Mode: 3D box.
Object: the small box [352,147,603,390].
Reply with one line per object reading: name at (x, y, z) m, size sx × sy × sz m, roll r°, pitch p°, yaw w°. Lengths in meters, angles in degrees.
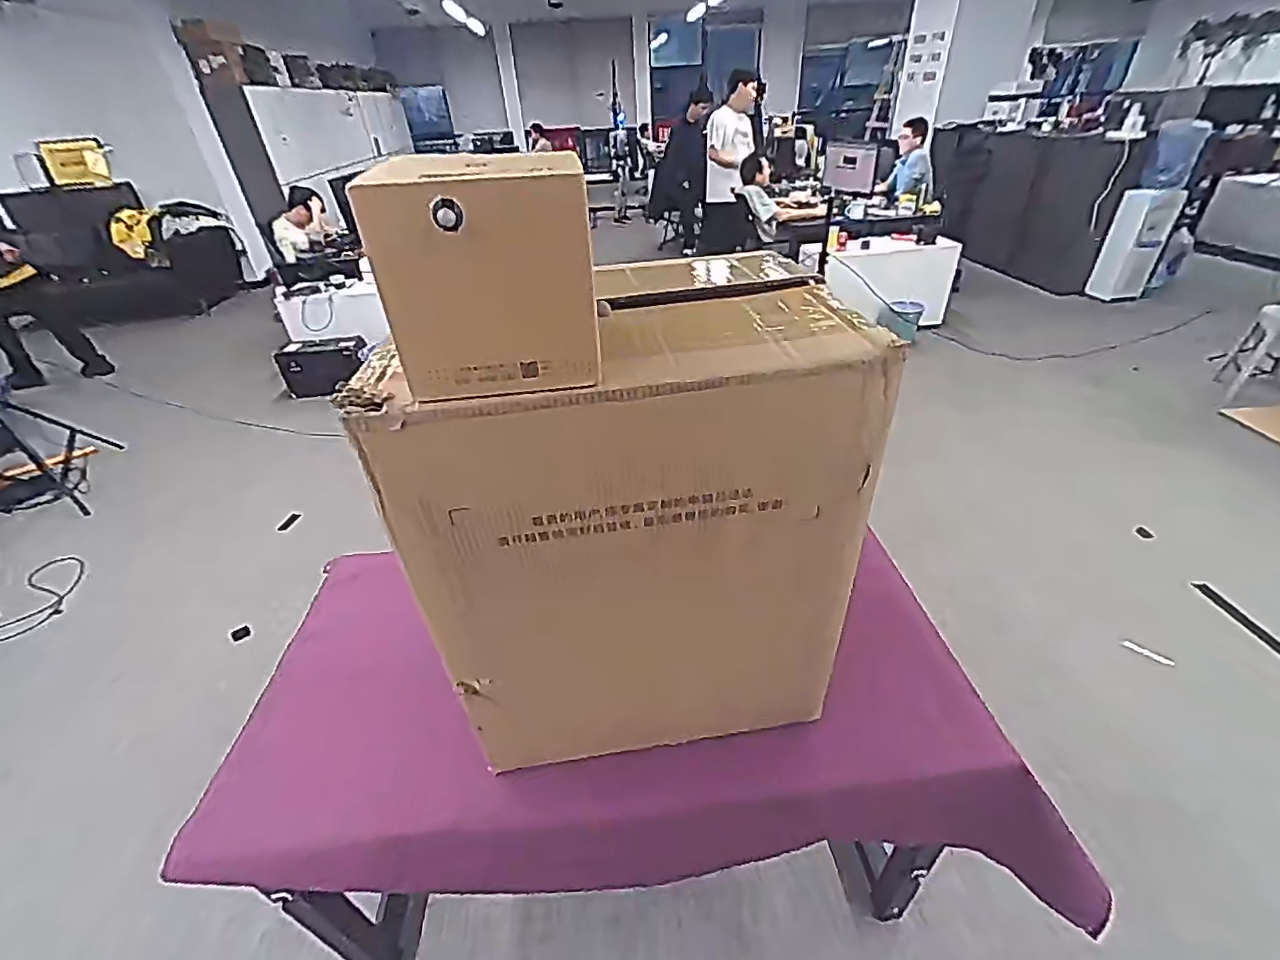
small box at (-0.126, -0.195, 0.488) m, size 0.168 × 0.176 × 0.179 m, roll -6°, pitch 35°, yaw -5°
